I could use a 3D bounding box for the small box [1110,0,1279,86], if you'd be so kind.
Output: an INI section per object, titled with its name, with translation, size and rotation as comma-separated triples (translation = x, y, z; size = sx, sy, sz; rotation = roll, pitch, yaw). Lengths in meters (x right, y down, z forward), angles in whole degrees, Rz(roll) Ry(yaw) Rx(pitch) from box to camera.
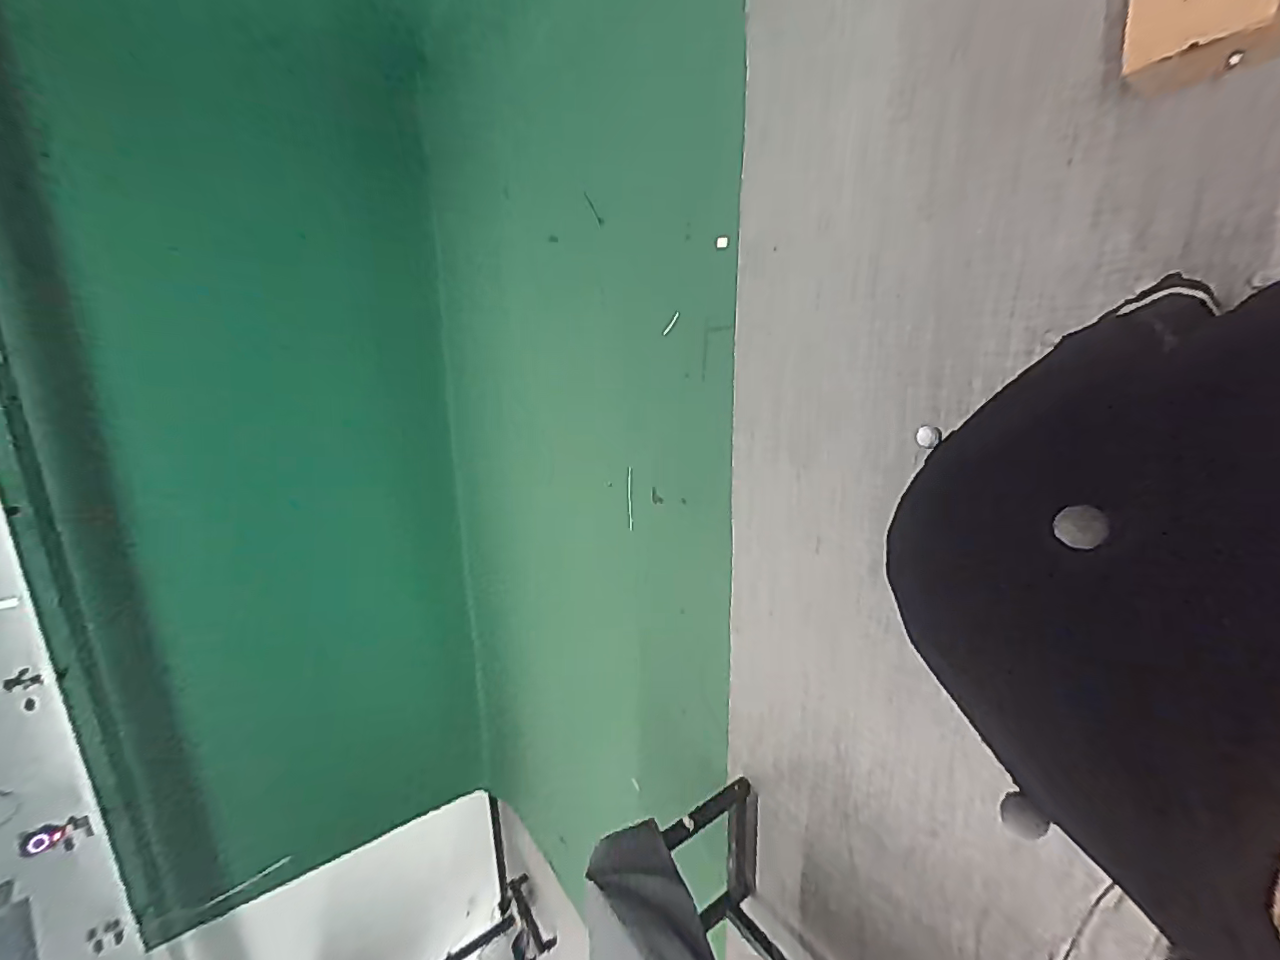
[small box]
translation = 0.861, -0.743, 0.831
size = 0.168, 0.176, 0.179
rotation = 11, 108, 51
